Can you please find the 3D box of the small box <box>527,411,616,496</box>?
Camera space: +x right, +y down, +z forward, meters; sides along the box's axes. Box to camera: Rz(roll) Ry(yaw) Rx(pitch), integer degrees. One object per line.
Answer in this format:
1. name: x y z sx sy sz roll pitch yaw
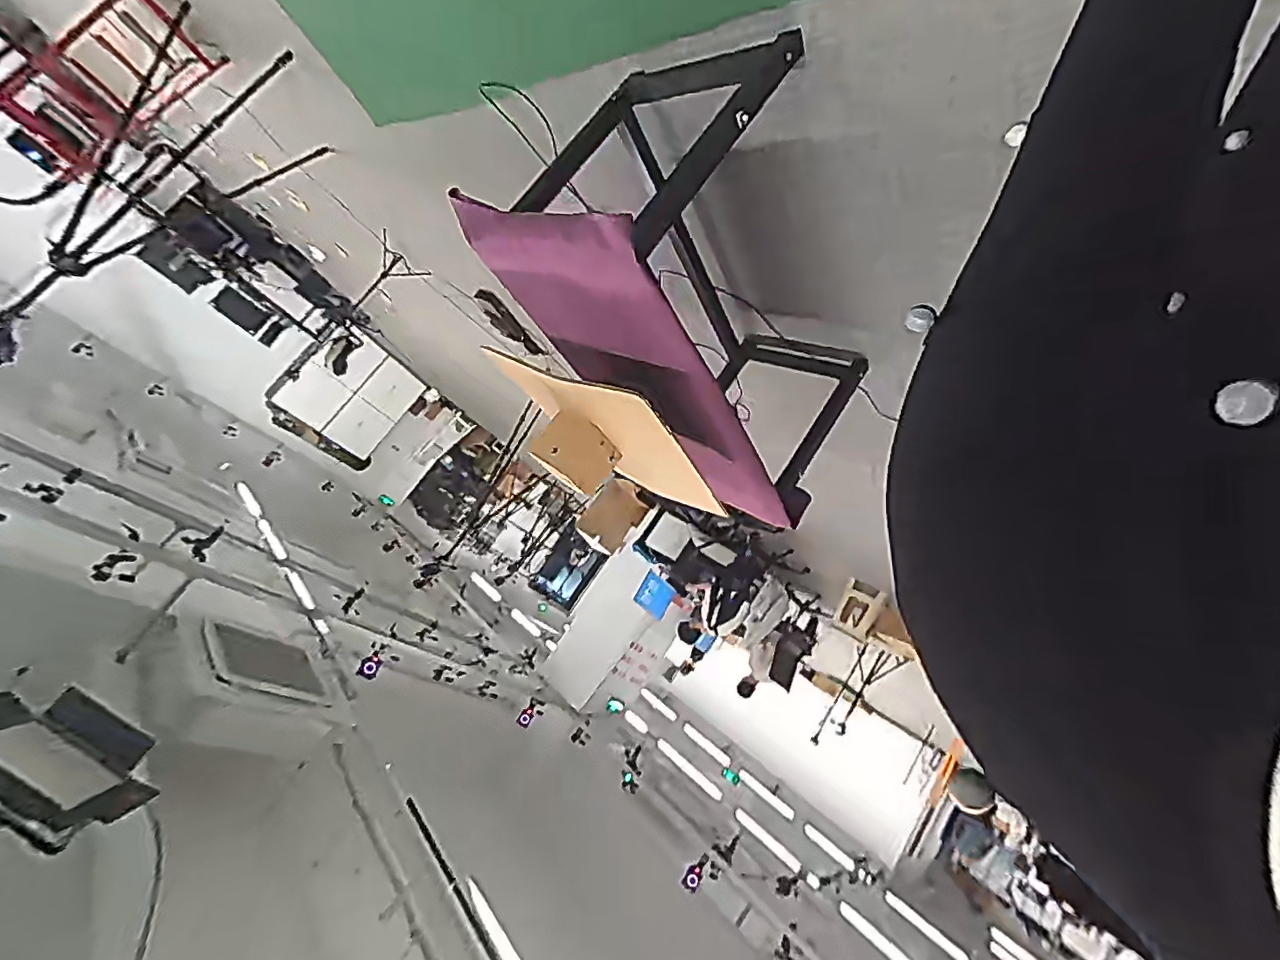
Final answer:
1. small box: -0.196 -0.084 1.623 0.179 0.176 0.168 29 167 40
